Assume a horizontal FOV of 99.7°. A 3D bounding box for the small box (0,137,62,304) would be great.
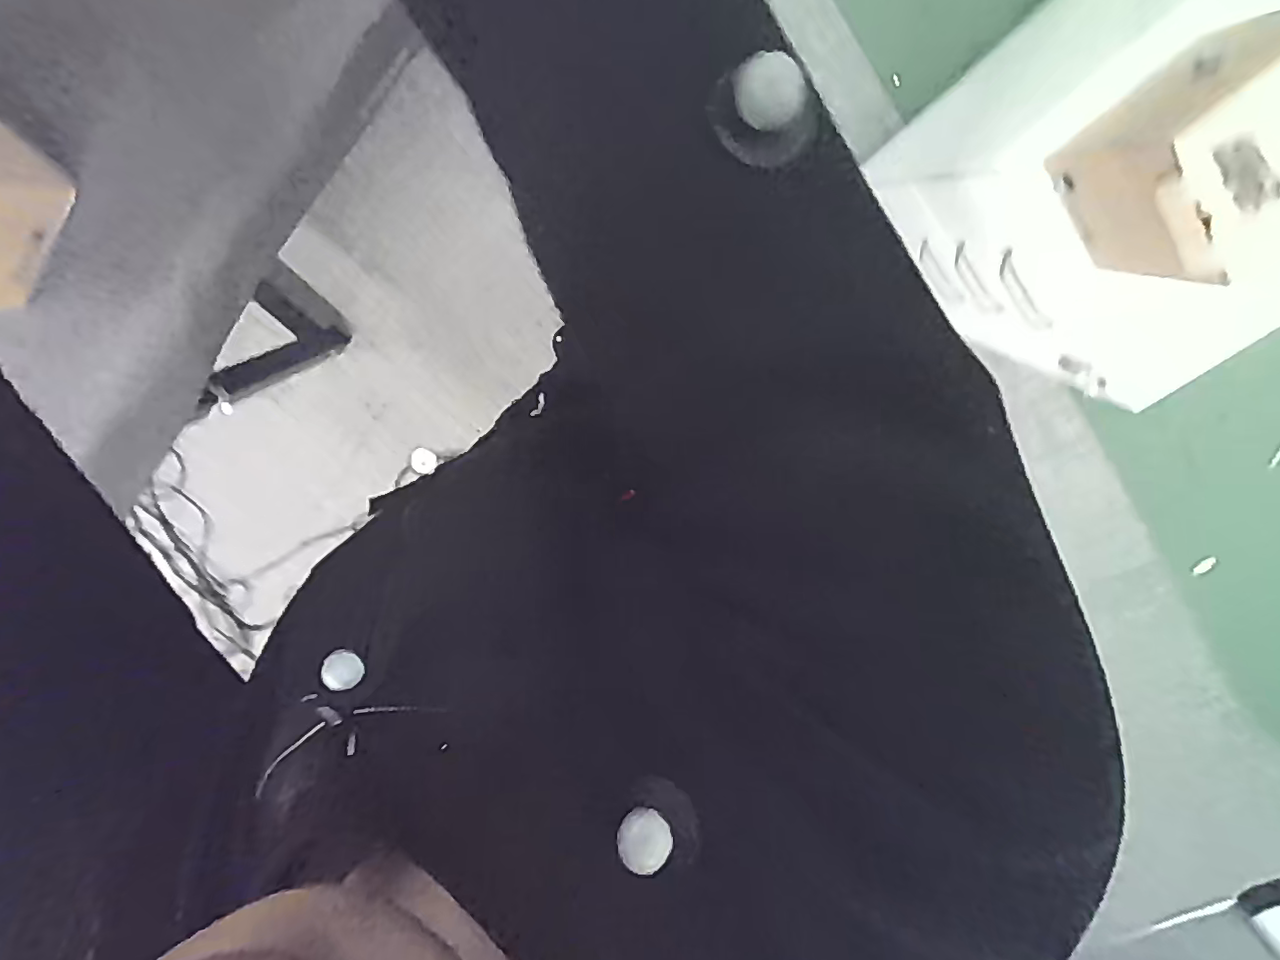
[{"bbox_3d":[-0.654,-0.244,0.431,0.168,0.176,0.179,-41,109,18],"label":"small box"}]
